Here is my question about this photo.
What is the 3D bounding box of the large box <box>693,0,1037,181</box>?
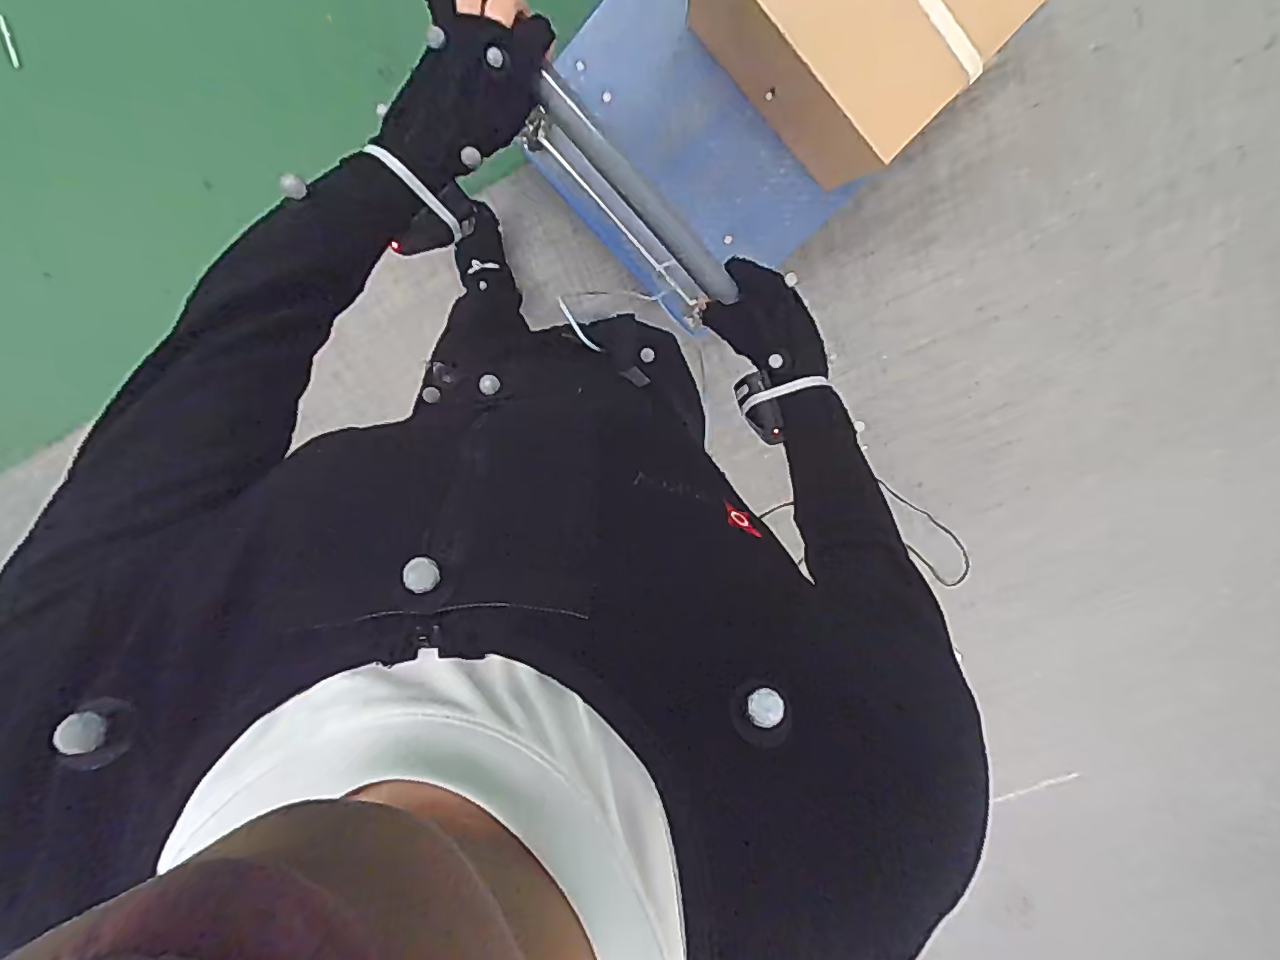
[{"bbox_3d":[0.337,-0.769,0.867,0.408,0.320,0.320,41,106,-13],"label":"large box"}]
